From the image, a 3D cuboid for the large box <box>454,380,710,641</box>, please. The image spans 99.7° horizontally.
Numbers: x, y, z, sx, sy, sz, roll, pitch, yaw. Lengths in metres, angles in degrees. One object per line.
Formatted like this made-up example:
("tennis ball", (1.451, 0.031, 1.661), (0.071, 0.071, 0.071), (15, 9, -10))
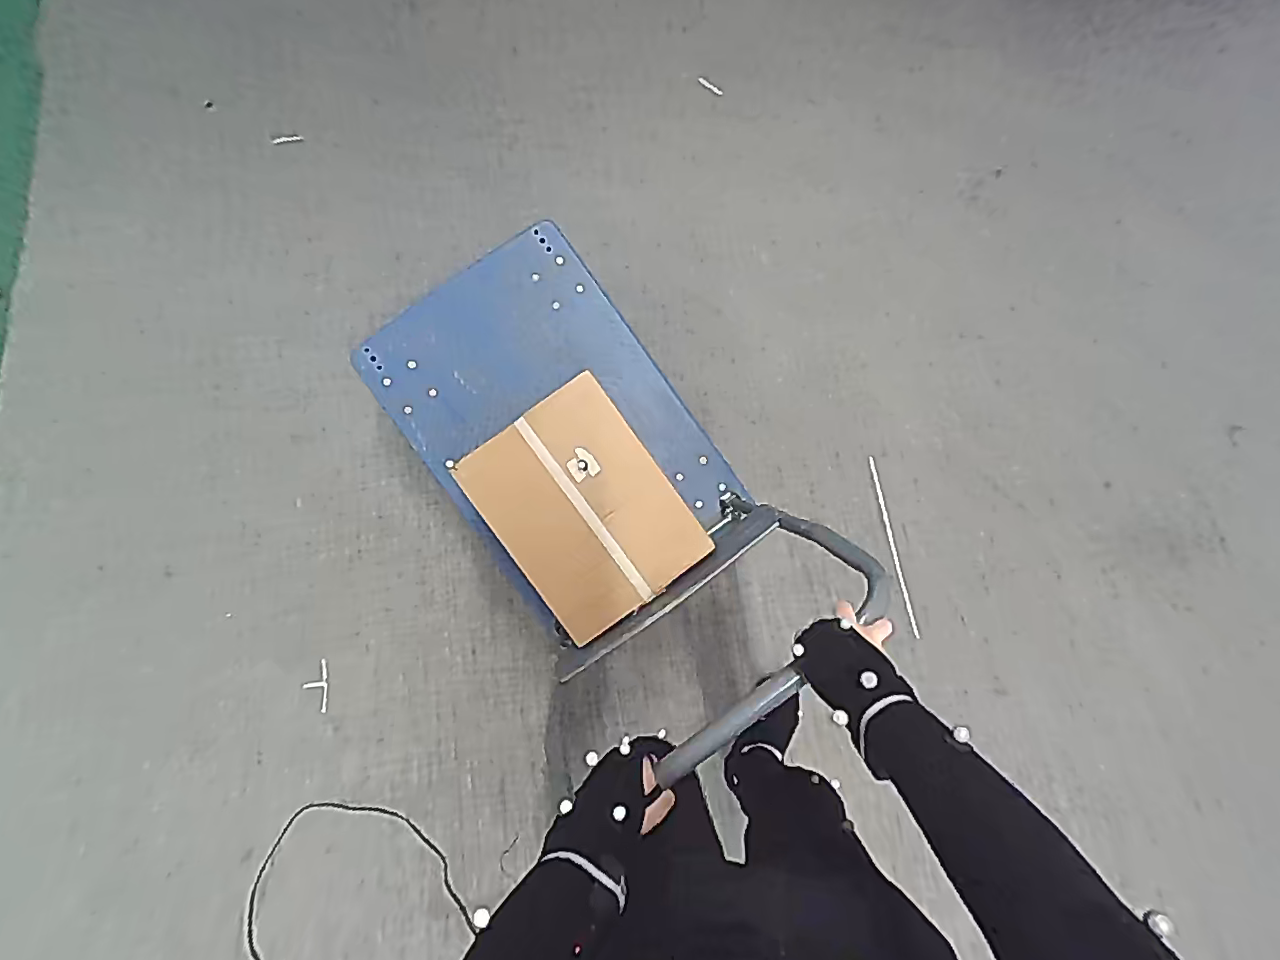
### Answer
("large box", (-0.109, 0.059, 1.153), (0.320, 0.320, 0.408), (-37, 91, -3))
